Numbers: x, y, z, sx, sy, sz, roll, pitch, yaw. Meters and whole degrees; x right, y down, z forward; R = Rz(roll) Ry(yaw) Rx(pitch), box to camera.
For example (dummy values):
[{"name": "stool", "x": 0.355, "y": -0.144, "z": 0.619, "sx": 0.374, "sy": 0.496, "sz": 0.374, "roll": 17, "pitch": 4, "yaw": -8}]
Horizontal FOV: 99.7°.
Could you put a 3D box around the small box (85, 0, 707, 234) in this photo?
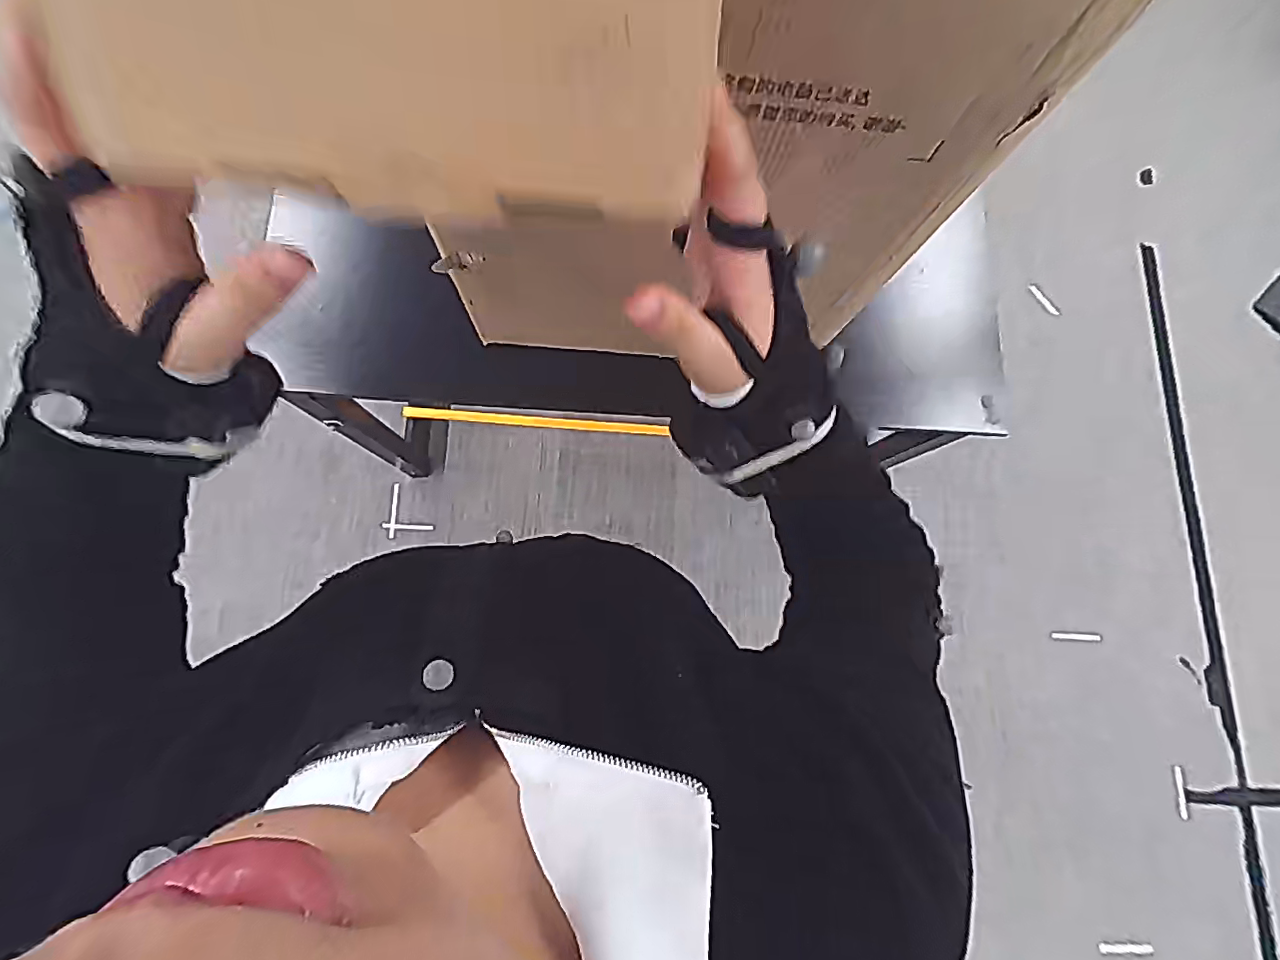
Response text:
[{"name": "small box", "x": -0.071, "y": -0.198, "z": 0.199, "sx": 0.168, "sy": 0.176, "sz": 0.179, "roll": -3, "pitch": 121, "yaw": -9}]
